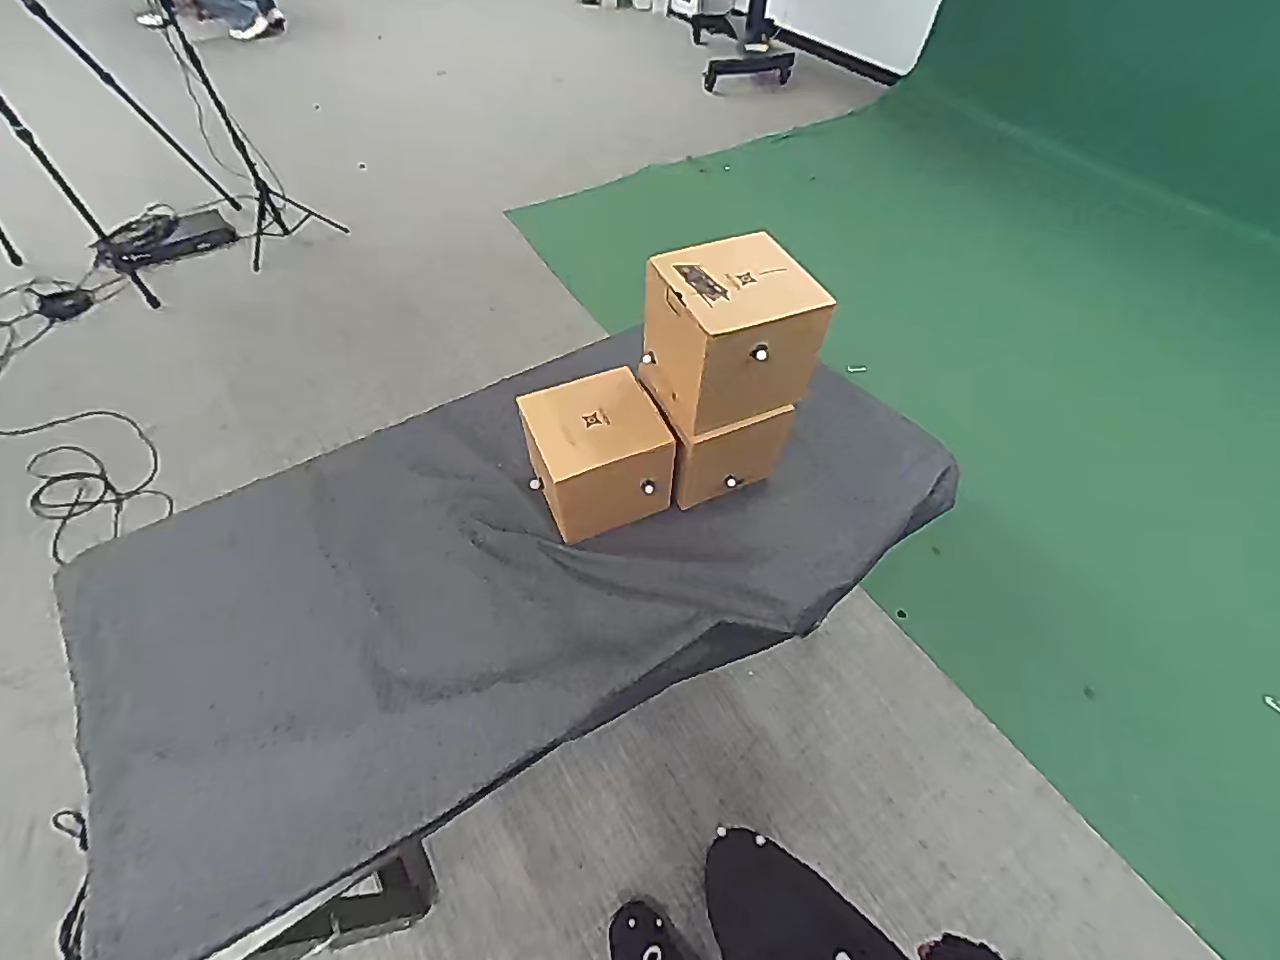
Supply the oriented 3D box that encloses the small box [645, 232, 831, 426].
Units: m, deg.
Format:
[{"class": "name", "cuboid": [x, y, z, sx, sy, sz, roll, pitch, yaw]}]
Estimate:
[{"class": "small box", "cuboid": [0.117, -0.197, 0.725, 0.179, 0.176, 0.168, -19, 58, -15]}]
